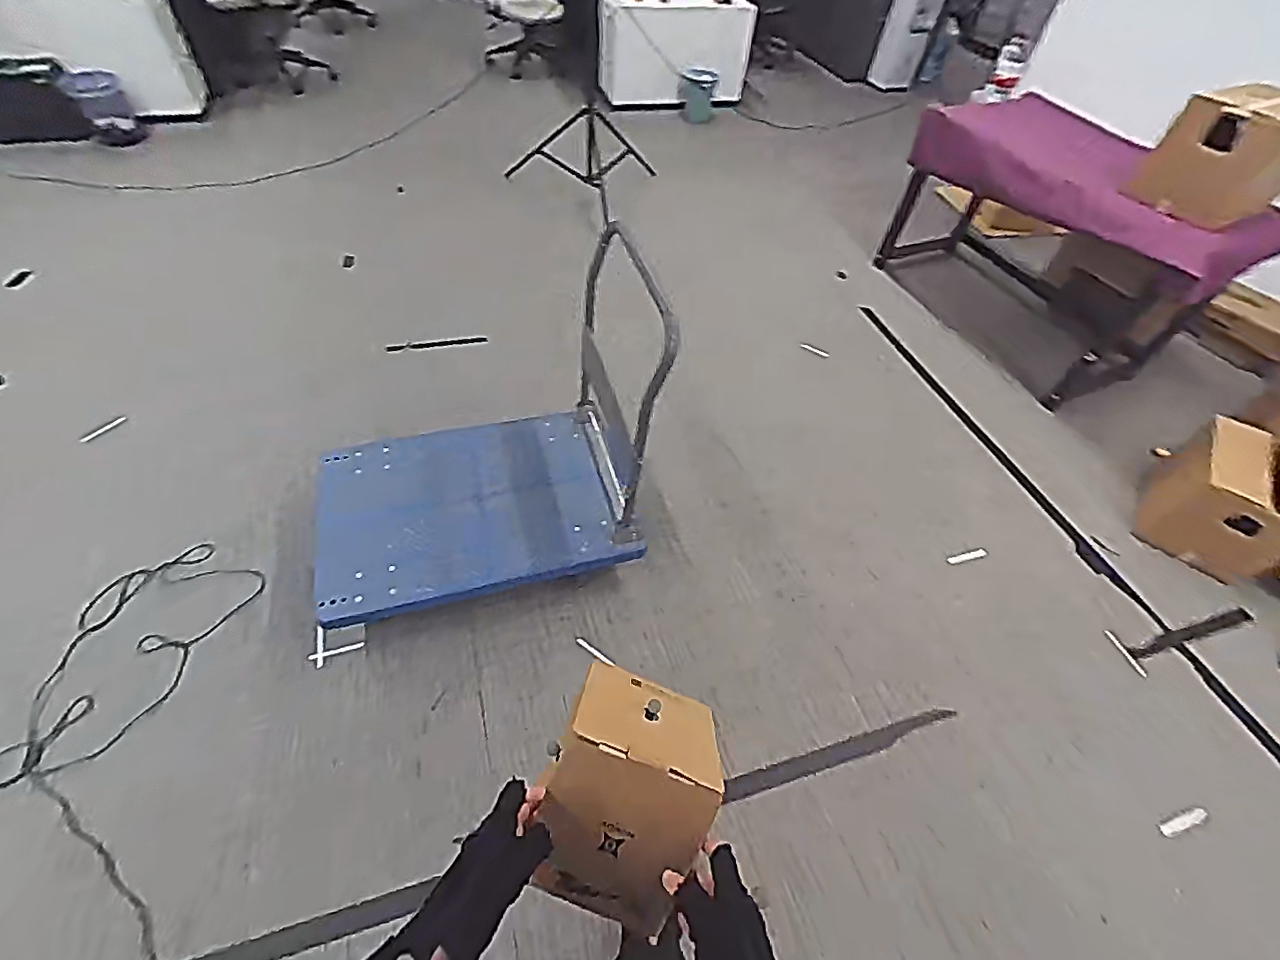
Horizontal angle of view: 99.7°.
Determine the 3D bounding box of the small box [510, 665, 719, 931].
[{"bbox_3d":[-0.026,0.344,0.622,0.168,0.176,0.179,22,95,0],"label":"small box"}]
